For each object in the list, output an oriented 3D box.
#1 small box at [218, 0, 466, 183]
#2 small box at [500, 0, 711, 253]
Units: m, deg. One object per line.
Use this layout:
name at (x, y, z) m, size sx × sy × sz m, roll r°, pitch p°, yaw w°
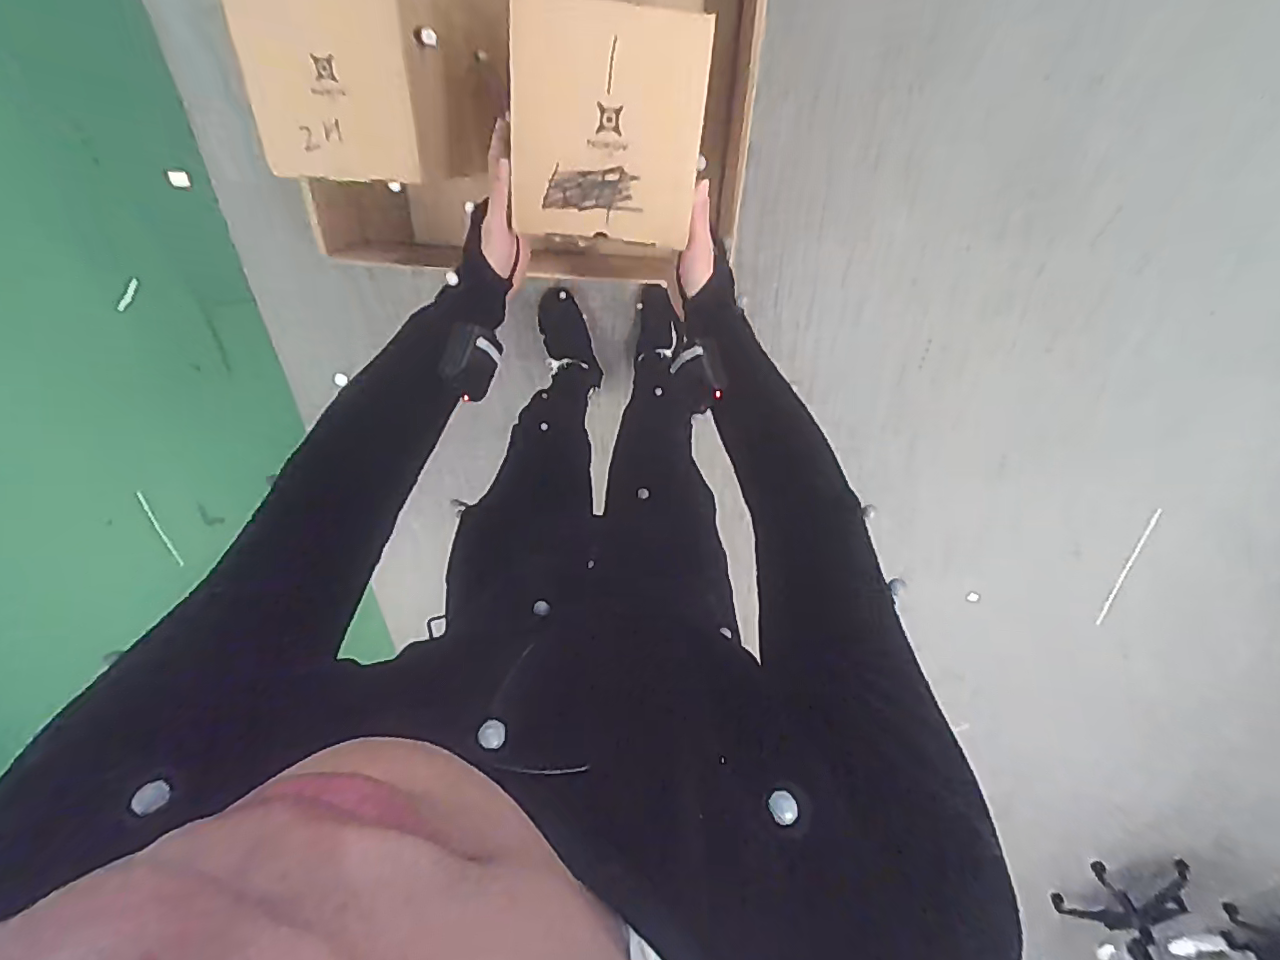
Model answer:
small box at (-0.304, -0.430, 0.590) m, size 0.168 × 0.176 × 0.179 m, roll 4°, pitch 122°, yaw 1°
small box at (-0.038, -0.328, 0.522) m, size 0.168 × 0.176 × 0.179 m, roll 3°, pitch 116°, yaw -6°
